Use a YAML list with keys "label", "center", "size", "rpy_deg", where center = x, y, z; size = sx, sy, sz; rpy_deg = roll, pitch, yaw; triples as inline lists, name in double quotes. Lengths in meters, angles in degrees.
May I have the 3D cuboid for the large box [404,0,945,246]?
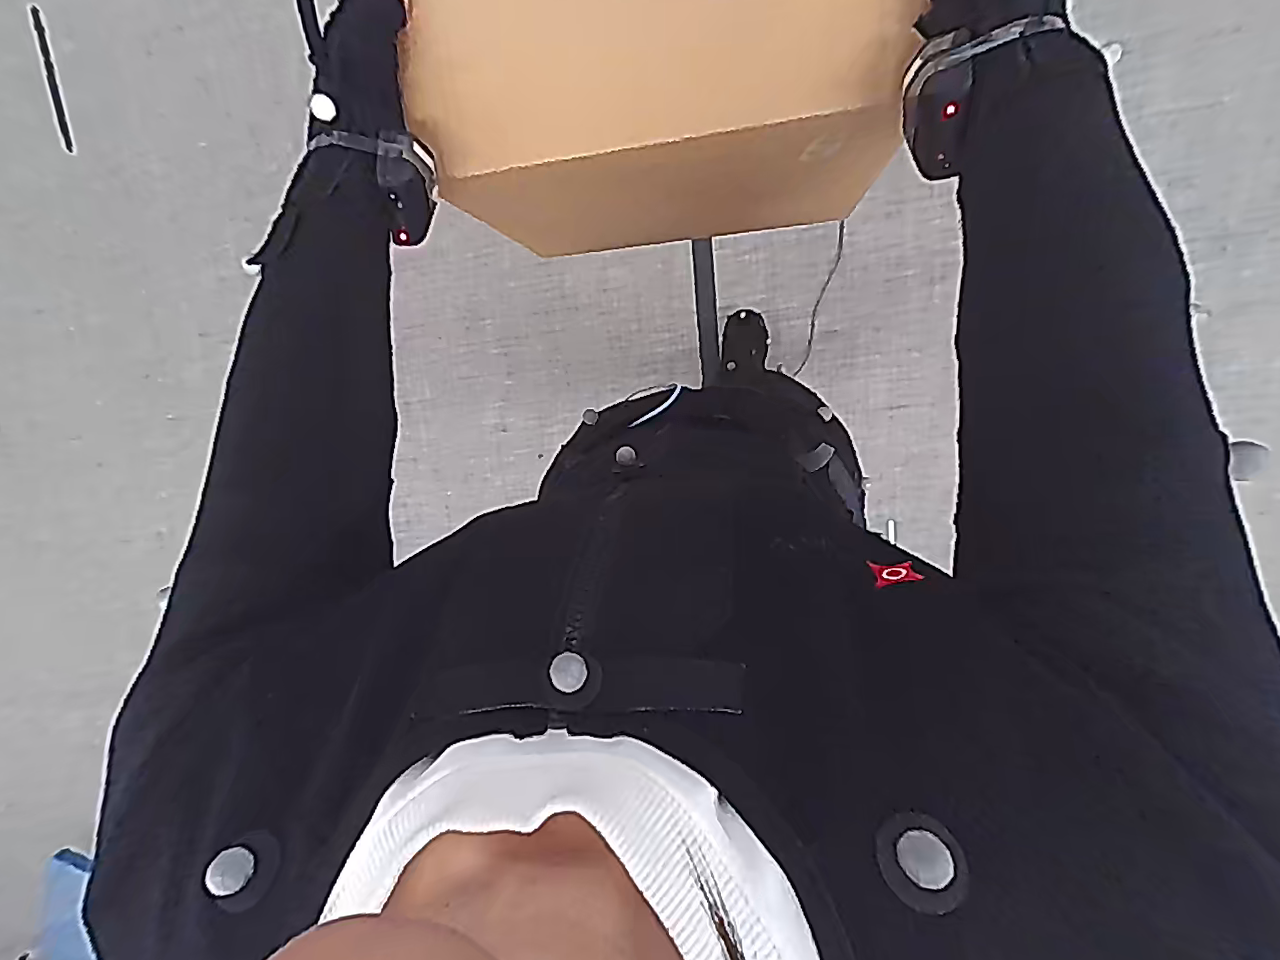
- label: "large box"
  center: [0.026, -0.452, 0.533]
  size: [0.408, 0.320, 0.320]
  rpy_deg: [-4, 101, 10]
